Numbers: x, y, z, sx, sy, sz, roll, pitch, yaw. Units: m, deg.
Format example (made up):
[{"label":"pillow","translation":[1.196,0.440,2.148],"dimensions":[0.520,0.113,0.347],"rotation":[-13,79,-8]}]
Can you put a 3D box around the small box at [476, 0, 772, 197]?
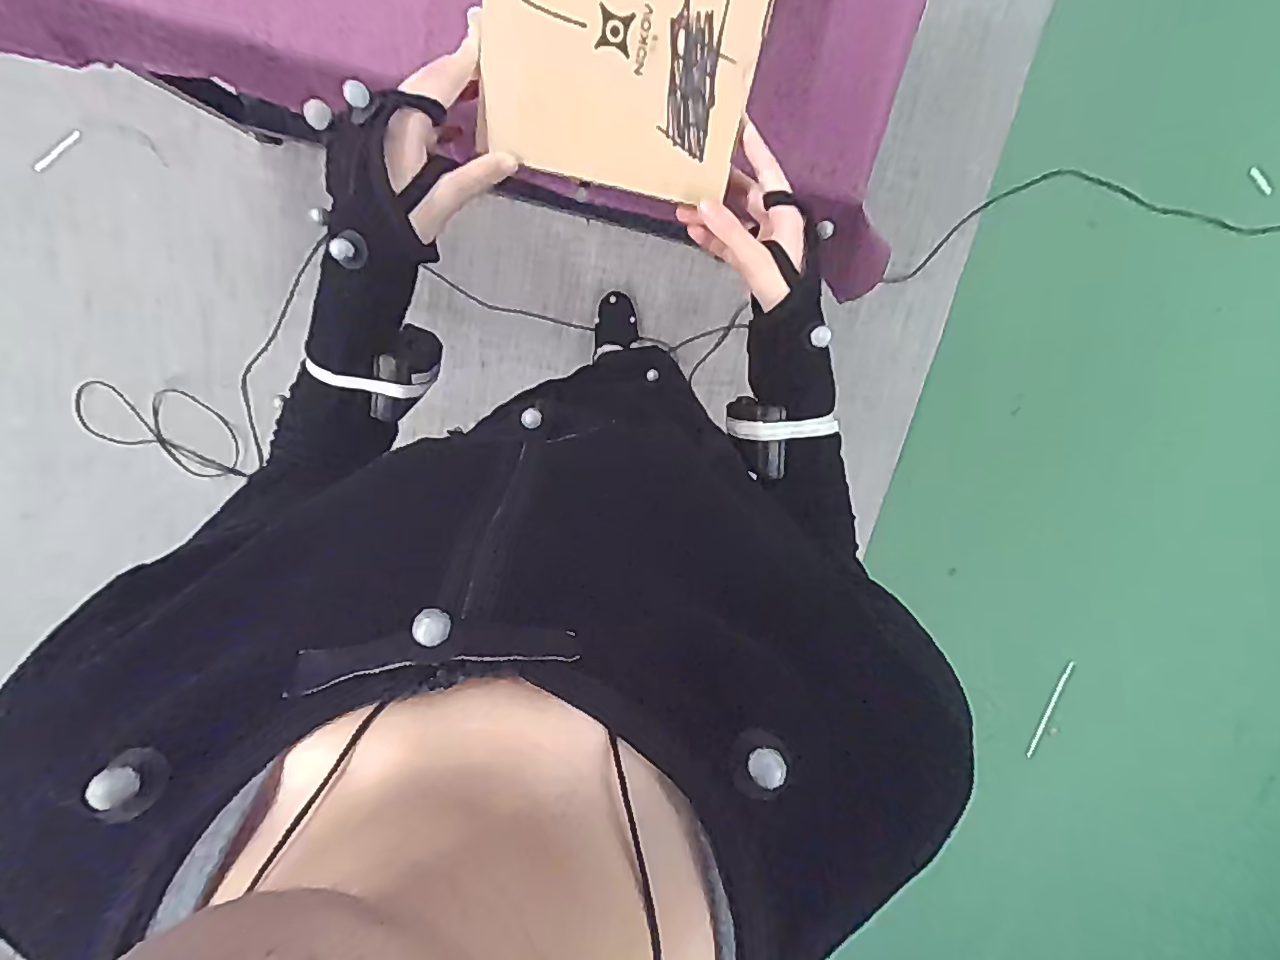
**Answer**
[{"label":"small box","translation":[-0.020,-0.324,0.402],"dimensions":[0.179,0.176,0.168],"rotation":[6,117,-14]}]
